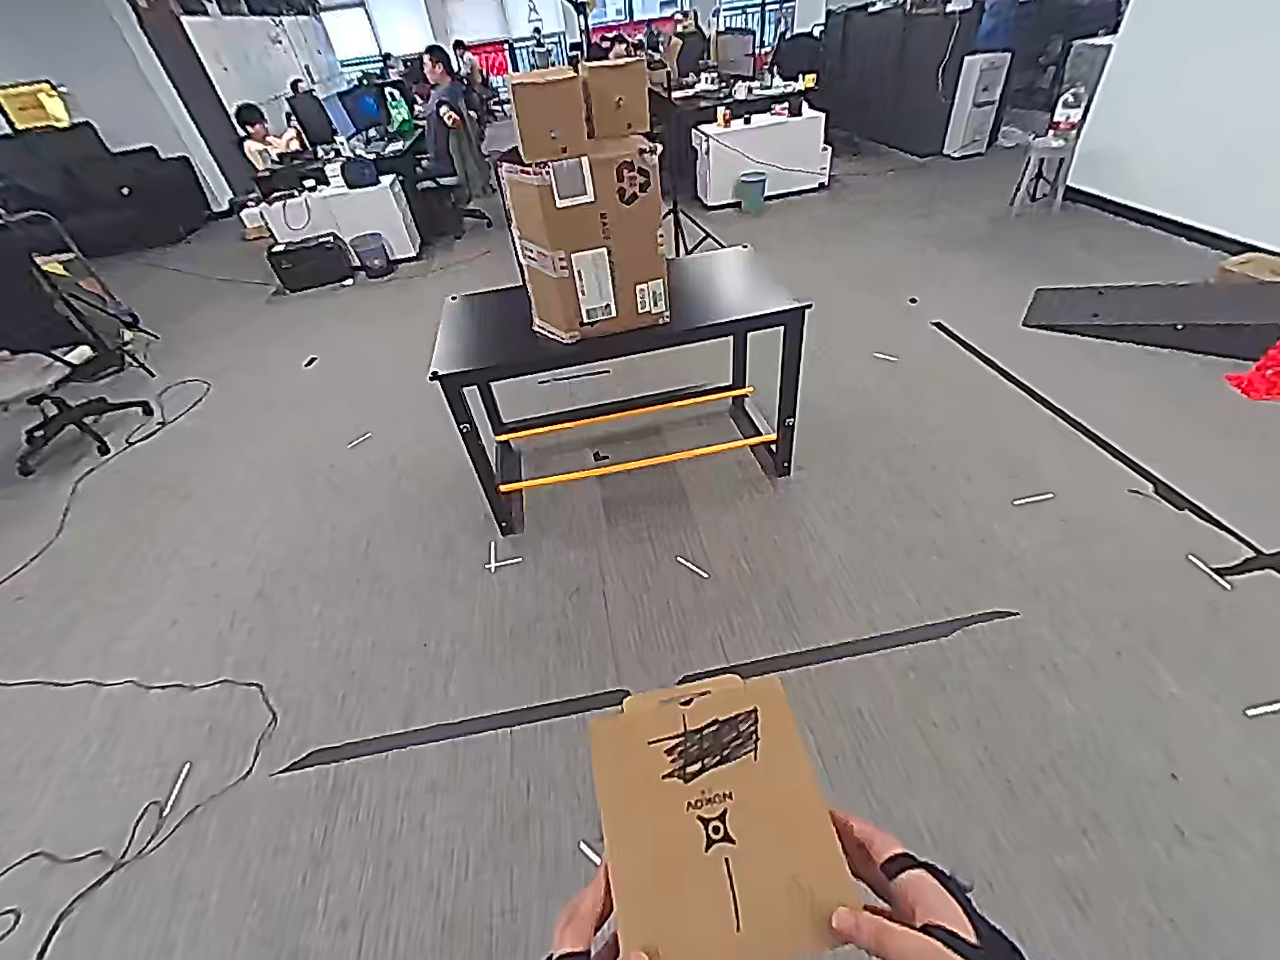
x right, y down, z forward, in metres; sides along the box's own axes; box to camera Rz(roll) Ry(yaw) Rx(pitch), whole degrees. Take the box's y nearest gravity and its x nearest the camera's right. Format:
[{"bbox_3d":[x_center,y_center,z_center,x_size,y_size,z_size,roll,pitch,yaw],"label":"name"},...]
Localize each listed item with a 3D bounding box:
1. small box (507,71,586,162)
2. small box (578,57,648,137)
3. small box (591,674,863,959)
[{"bbox_3d":[-0.239,-0.930,1.385,0.168,0.176,0.179,-13,43,-8],"label":"small box"},{"bbox_3d":[-0.077,-1.107,1.566,0.168,0.176,0.179,-11,42,-7],"label":"small box"},{"bbox_3d":[0.057,0.295,0.466,0.168,0.176,0.179,-11,52,-5],"label":"small box"}]
